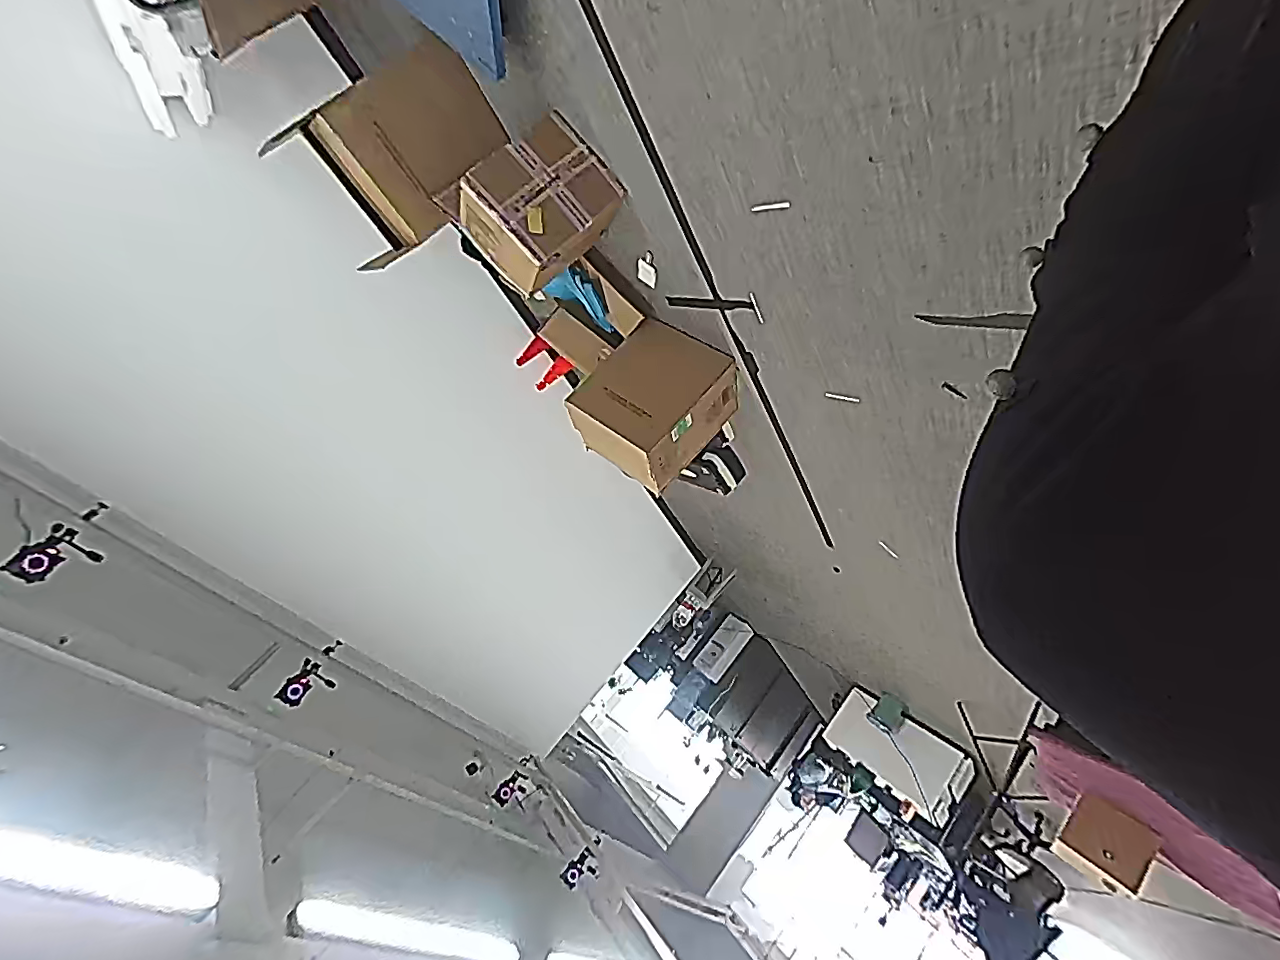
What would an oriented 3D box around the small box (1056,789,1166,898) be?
[{"bbox_3d":[1.294,0.997,1.489,0.179,0.176,0.168,29,159,44],"label":"small box"}]
